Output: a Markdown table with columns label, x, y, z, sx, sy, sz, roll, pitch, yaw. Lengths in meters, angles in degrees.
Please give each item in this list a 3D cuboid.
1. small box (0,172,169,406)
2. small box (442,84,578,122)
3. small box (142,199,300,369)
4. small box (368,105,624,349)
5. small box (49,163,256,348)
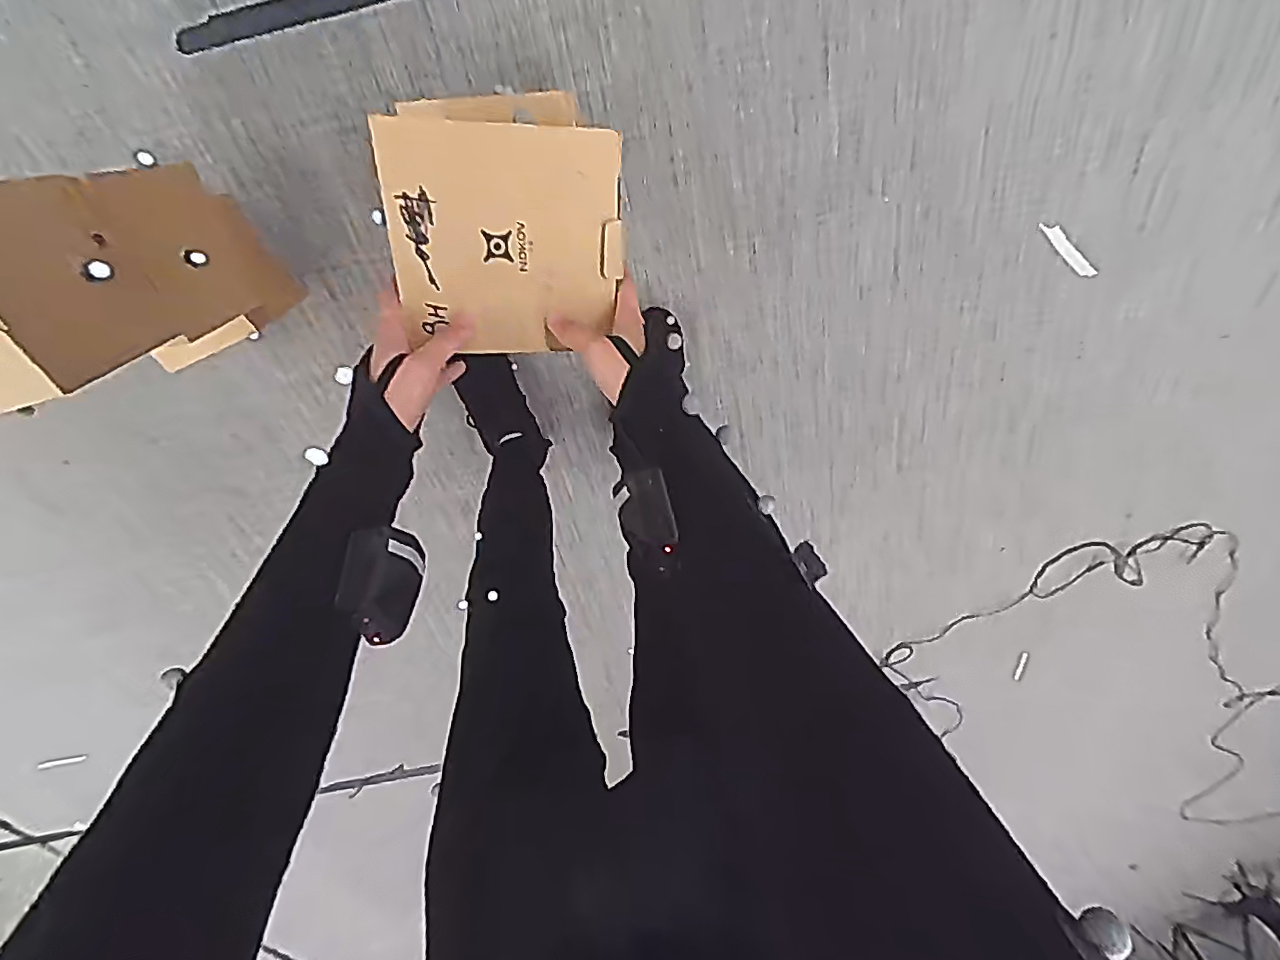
| label | x | y | z | sx | sy | sz | roll | pitch | yaw |
| --- | --- | --- | --- | --- | --- | --- | --- | --- | --- |
| small box | -0.614 | -0.169 | 0.502 | 0.179 | 0.176 | 0.168 | -14 | 124 | 5 |
| small box | -0.164 | -0.438 | 0.760 | 0.179 | 0.176 | 0.168 | -11 | 125 | 1 |
| small box | -0.664 | -0.299 | 0.806 | 0.168 | 0.176 | 0.179 | -20 | 124 | 9 |
| small box | -0.117 | -0.220 | 0.480 | 0.179 | 0.176 | 0.168 | -4 | 119 | -11 |
| small box | -0.611 | -0.264 | 0.637 | 0.168 | 0.176 | 0.179 | -8 | 125 | 1 |
